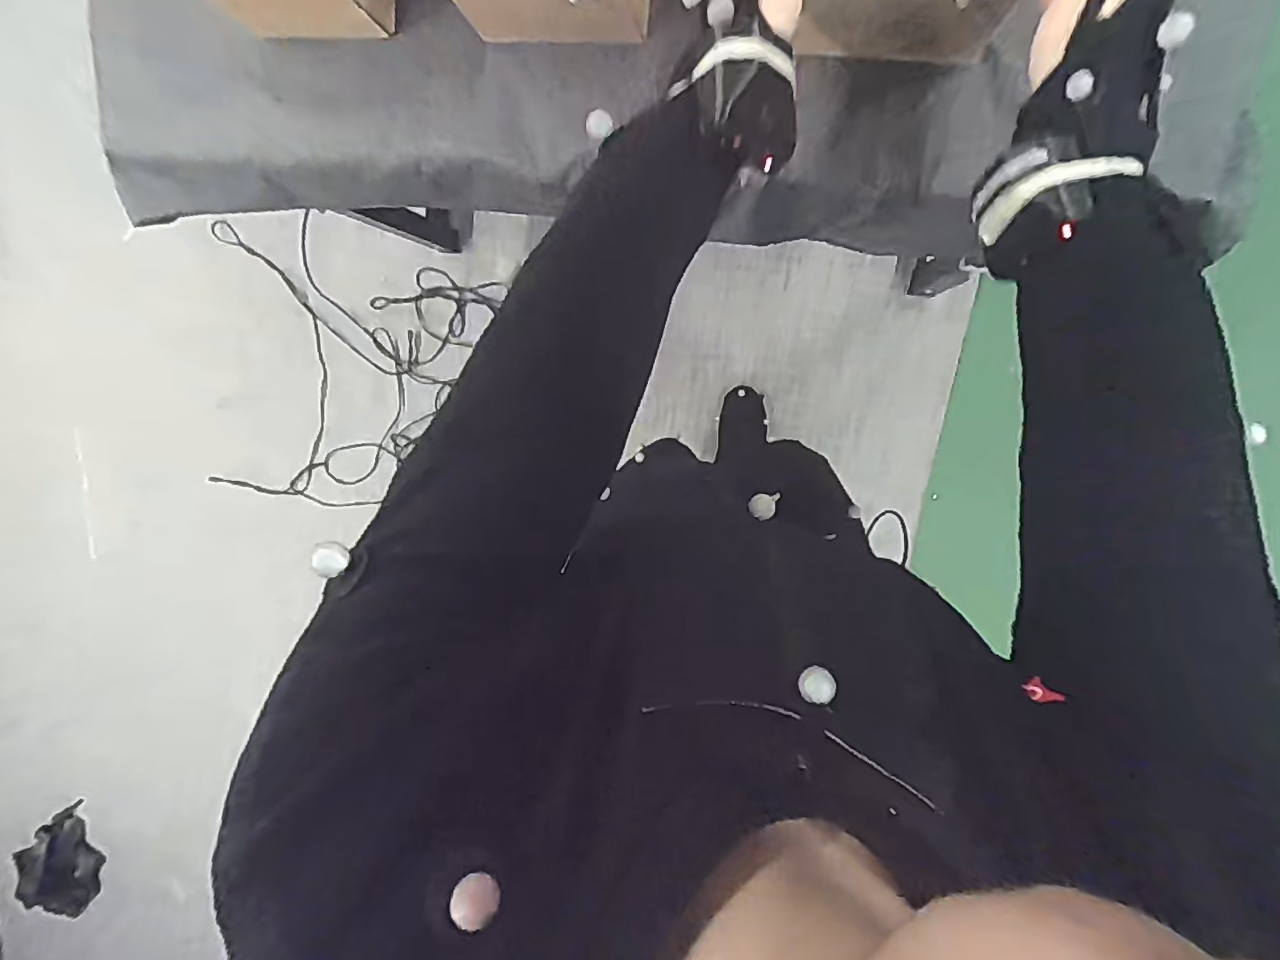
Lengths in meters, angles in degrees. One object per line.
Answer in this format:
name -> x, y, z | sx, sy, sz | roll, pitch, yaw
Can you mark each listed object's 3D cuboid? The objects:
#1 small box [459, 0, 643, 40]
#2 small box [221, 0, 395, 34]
small box -> -0.086, -0.513, 0.457 | 0.179, 0.176, 0.168 | 9, 102, 12
small box -> -0.358, -0.560, 0.509 | 0.179, 0.176, 0.168 | 8, 102, 10
